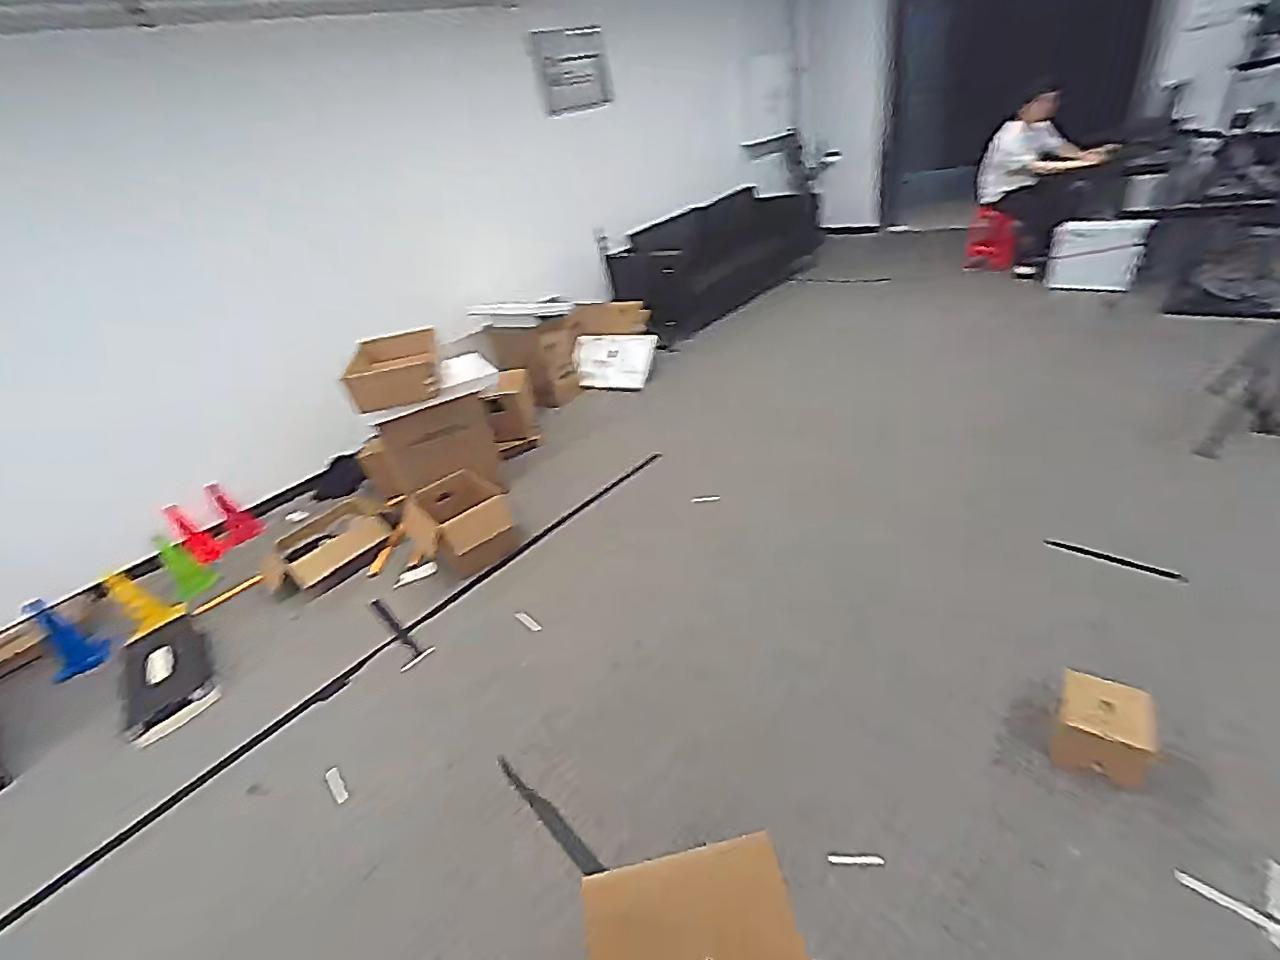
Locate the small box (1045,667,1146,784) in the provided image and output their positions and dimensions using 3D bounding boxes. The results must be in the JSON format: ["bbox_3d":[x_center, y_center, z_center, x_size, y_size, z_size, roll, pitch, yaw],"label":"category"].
[{"bbox_3d":[1.138,0.614,1.360,0.168,0.176,0.179,10,39,34],"label":"small box"}]
